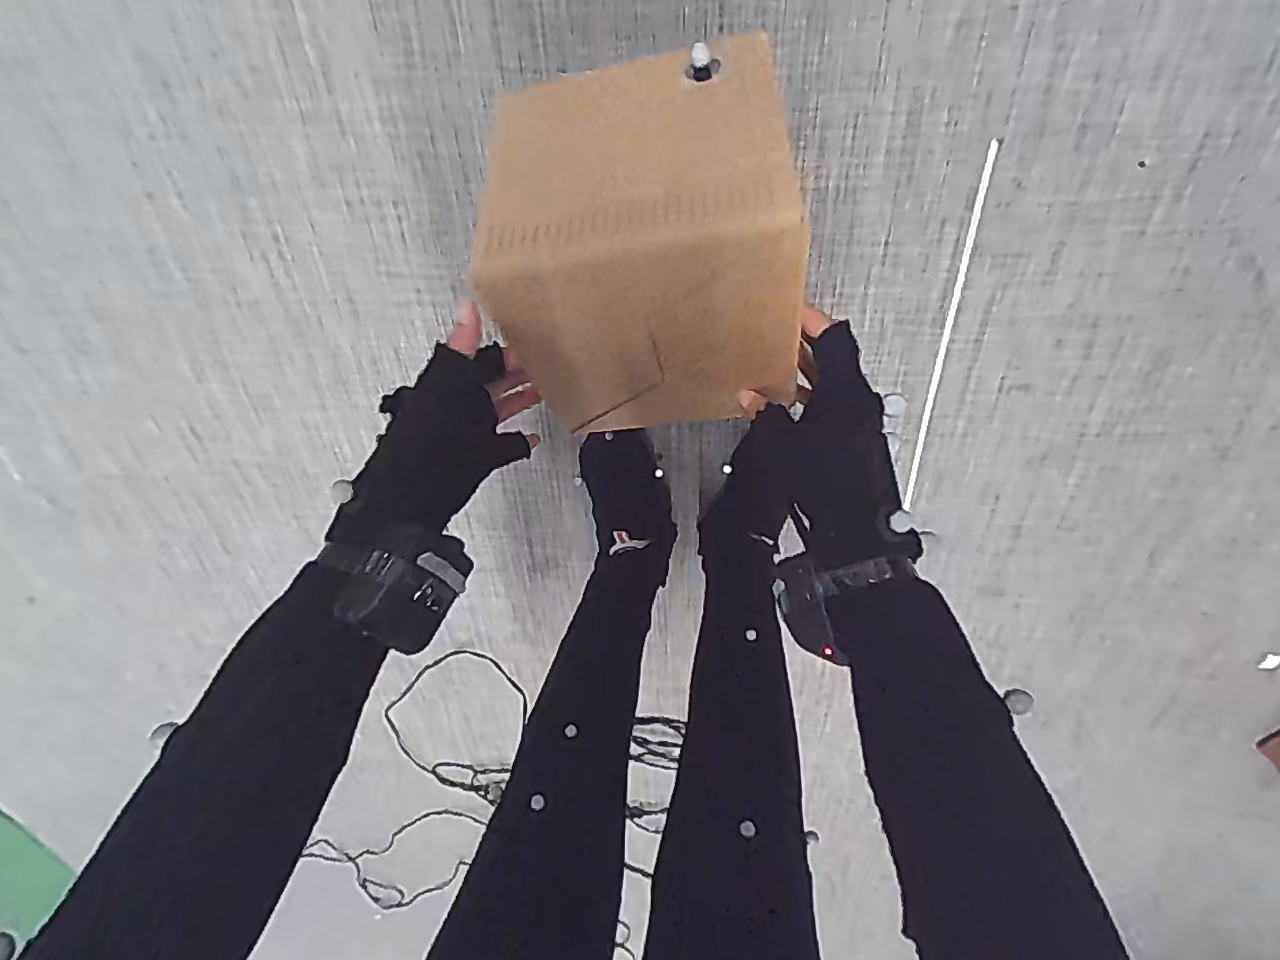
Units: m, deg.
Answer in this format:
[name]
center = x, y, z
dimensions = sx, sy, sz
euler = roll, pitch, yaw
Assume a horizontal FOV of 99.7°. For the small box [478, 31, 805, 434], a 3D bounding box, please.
[small box]
center = 0.008, -0.143, 0.366
dimensions = 0.179, 0.176, 0.168
euler = -5, 158, 12
